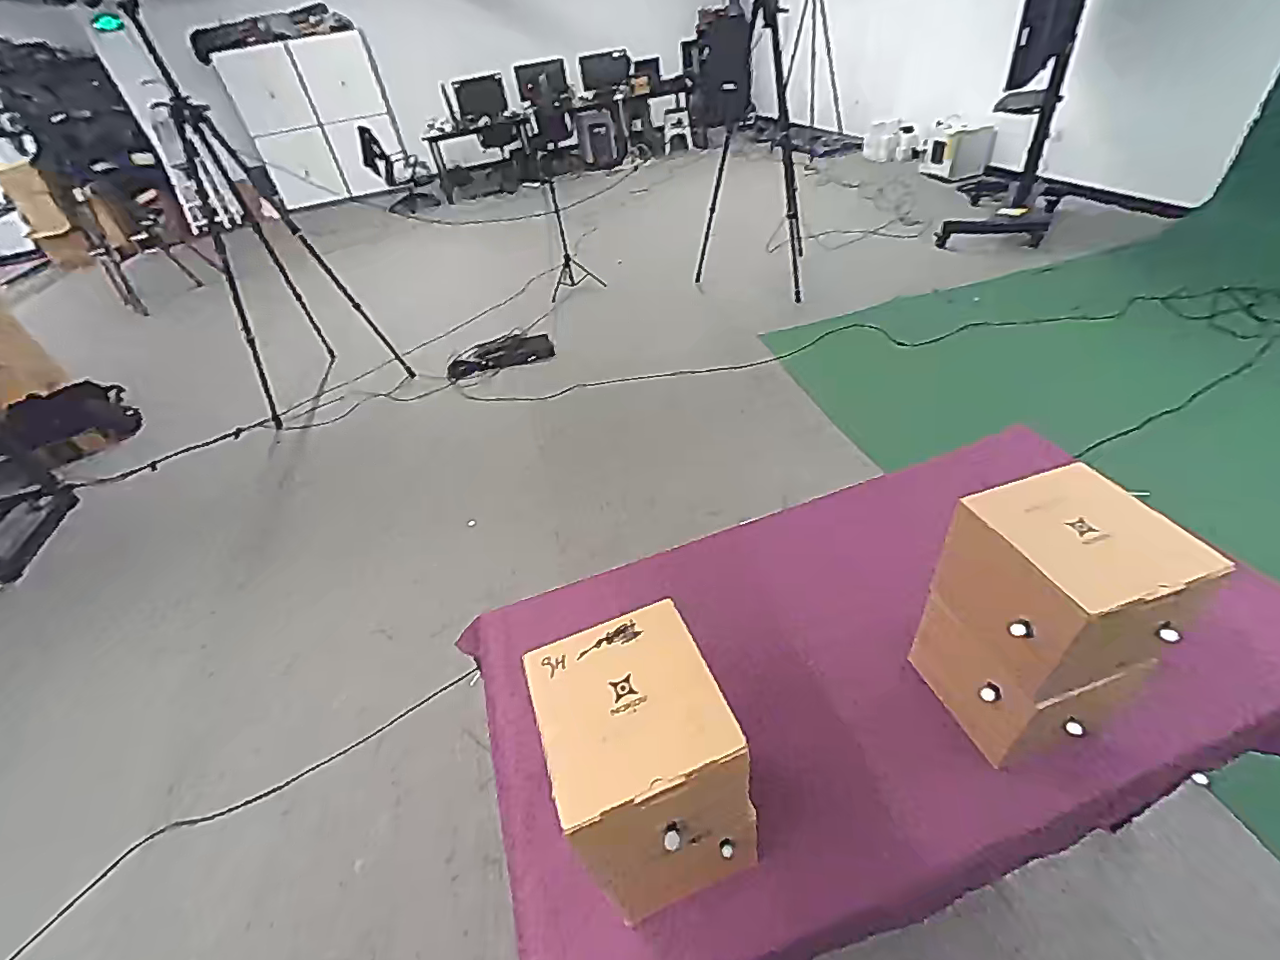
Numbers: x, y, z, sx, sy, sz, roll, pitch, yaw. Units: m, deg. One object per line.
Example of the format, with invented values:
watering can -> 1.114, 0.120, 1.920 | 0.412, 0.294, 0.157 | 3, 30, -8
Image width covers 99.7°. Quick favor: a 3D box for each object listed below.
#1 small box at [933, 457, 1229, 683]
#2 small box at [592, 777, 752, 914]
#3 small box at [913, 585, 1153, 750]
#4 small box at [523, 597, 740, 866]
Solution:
small box -> 0.474, 0.107, 0.619 | 0.168, 0.176, 0.179 | -16, 40, -6
small box -> 0.024, 0.384, 0.659 | 0.179, 0.176, 0.168 | -19, 40, -10
small box -> 0.500, 0.231, 0.721 | 0.168, 0.176, 0.179 | -17, 40, -7
small box -> -0.005, 0.260, 0.555 | 0.168, 0.176, 0.179 | -19, 41, -10
